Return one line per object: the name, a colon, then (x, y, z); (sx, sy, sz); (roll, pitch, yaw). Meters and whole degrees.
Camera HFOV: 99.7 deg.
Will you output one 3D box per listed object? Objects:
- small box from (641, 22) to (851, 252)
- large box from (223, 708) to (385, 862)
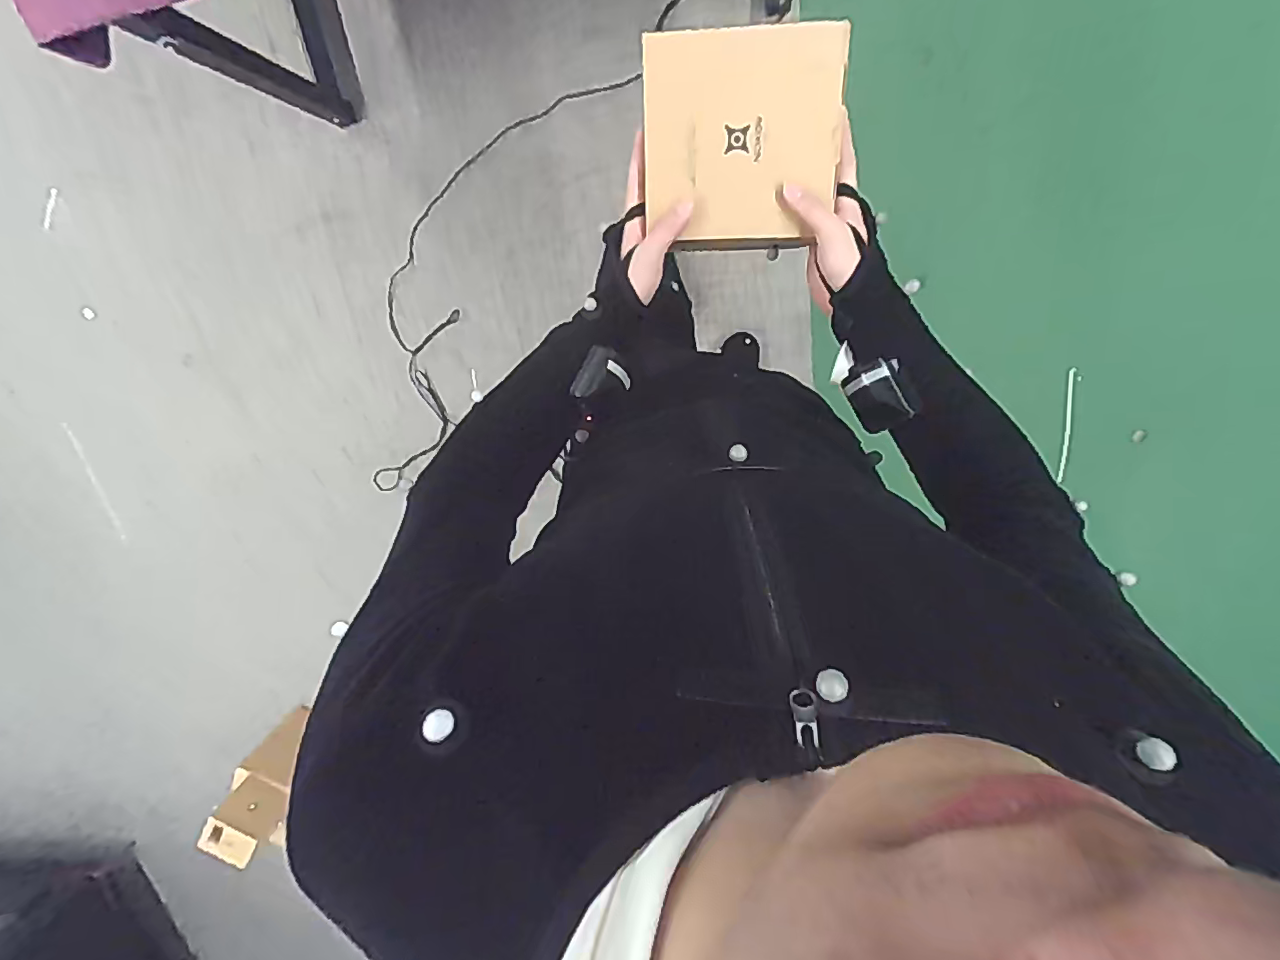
small box: (0.094, -0.328, 0.550); (0.179, 0.176, 0.168); (1, 109, 5)
large box: (-1.280, 1.159, 2.082); (0.408, 0.320, 0.320); (24, 111, -2)
